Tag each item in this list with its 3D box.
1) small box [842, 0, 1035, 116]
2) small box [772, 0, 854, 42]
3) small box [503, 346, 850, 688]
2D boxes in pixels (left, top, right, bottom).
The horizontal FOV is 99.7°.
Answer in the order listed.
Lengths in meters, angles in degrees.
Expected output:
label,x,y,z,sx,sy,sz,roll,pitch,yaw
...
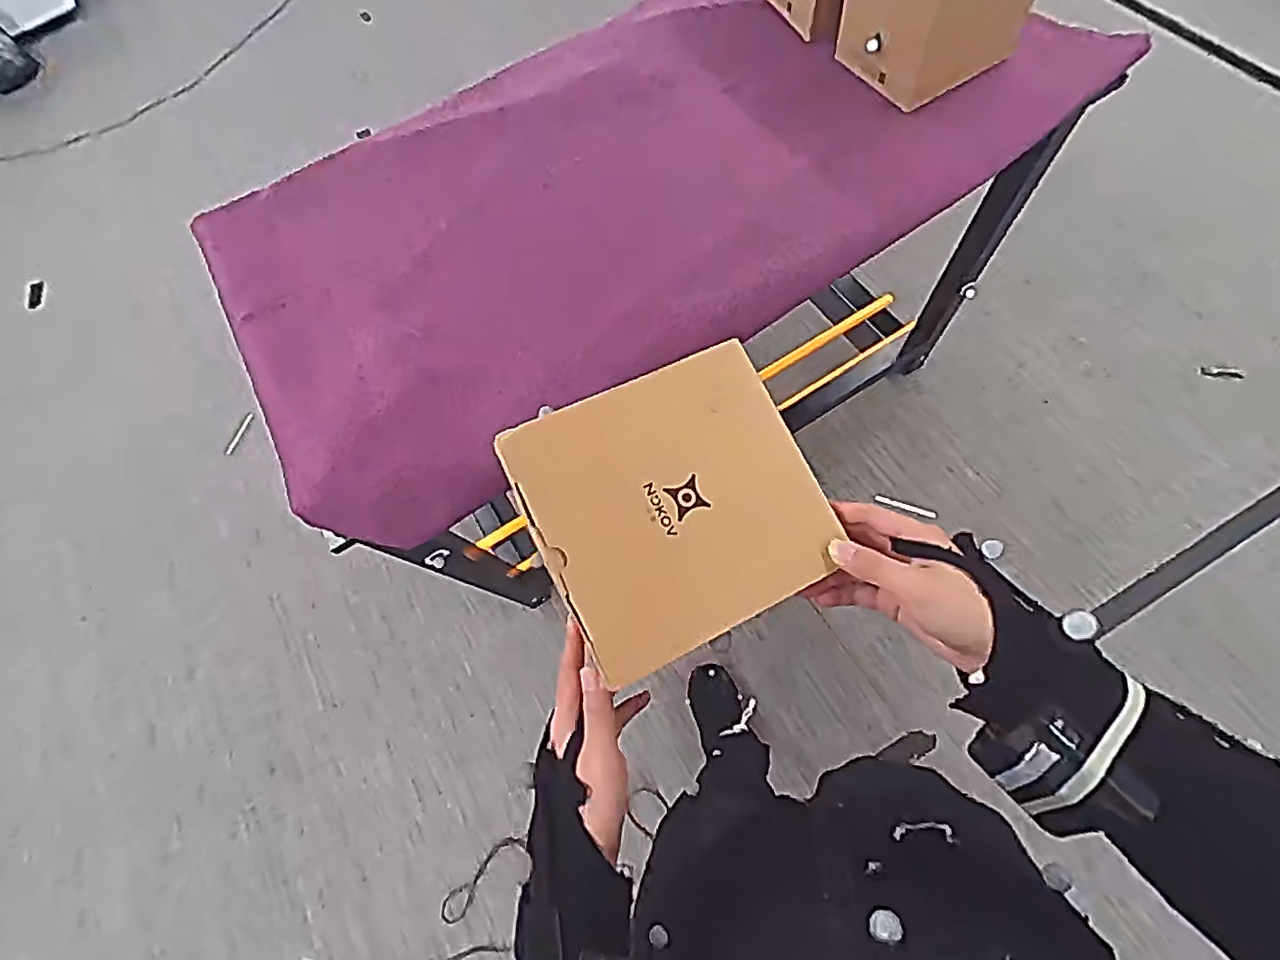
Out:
label,x,y,z,sx,sy,sz,roll,pitch,yaw
small box,0.398,-0.637,0.716,0.179,0.176,0.168,-30,67,-3
small box,0.294,-0.794,0.788,0.179,0.176,0.168,-25,70,-3
small box,0.014,0.030,0.414,0.179,0.176,0.168,-25,82,-12
